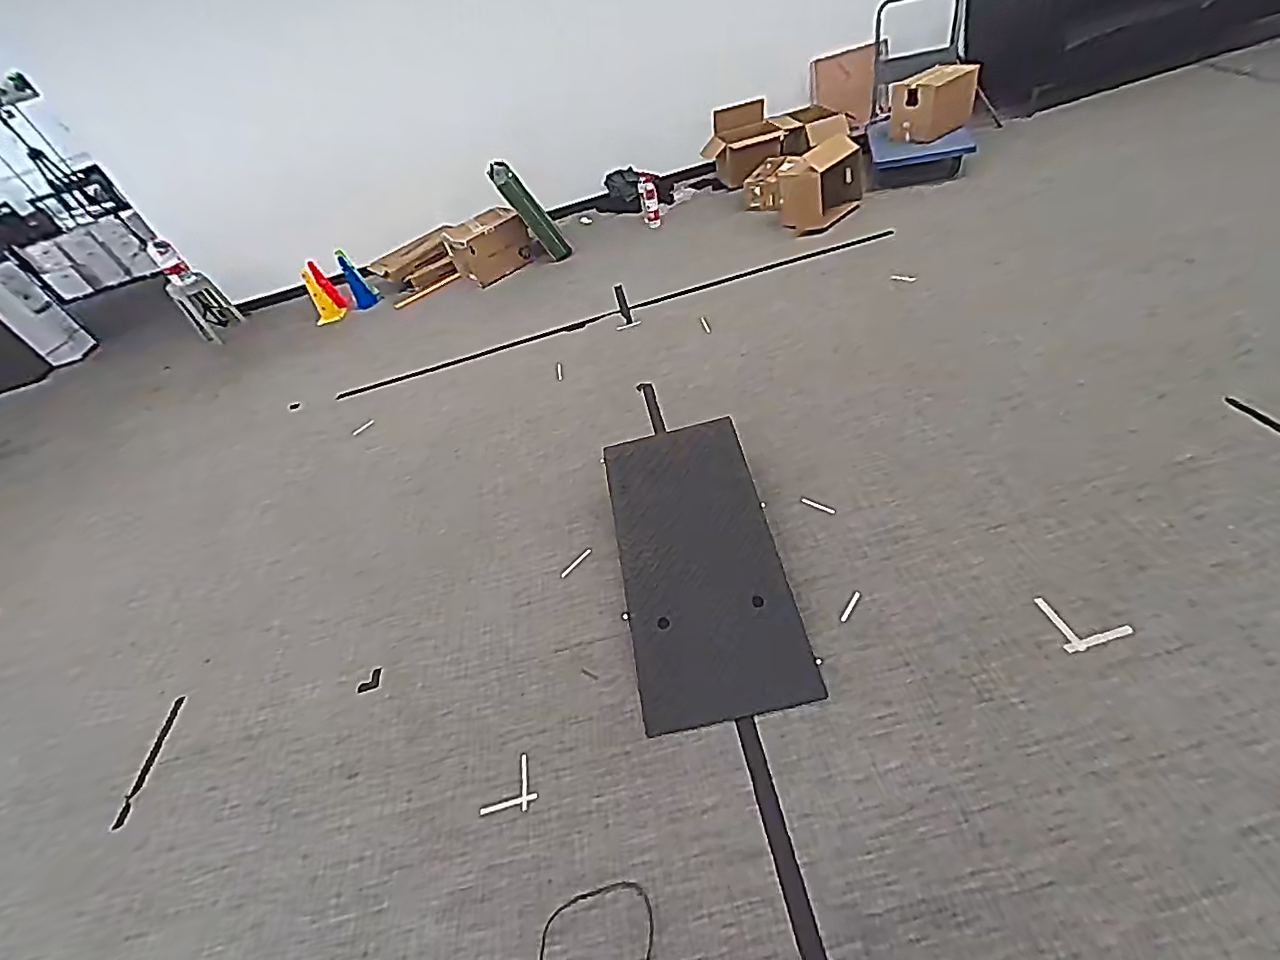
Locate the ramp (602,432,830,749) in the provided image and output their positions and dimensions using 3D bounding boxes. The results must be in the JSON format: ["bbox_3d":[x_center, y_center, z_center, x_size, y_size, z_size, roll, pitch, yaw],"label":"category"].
[{"bbox_3d":[0.181,0.271,1.725,0.509,0.206,0.991,-16,43,1],"label":"ramp"}]
